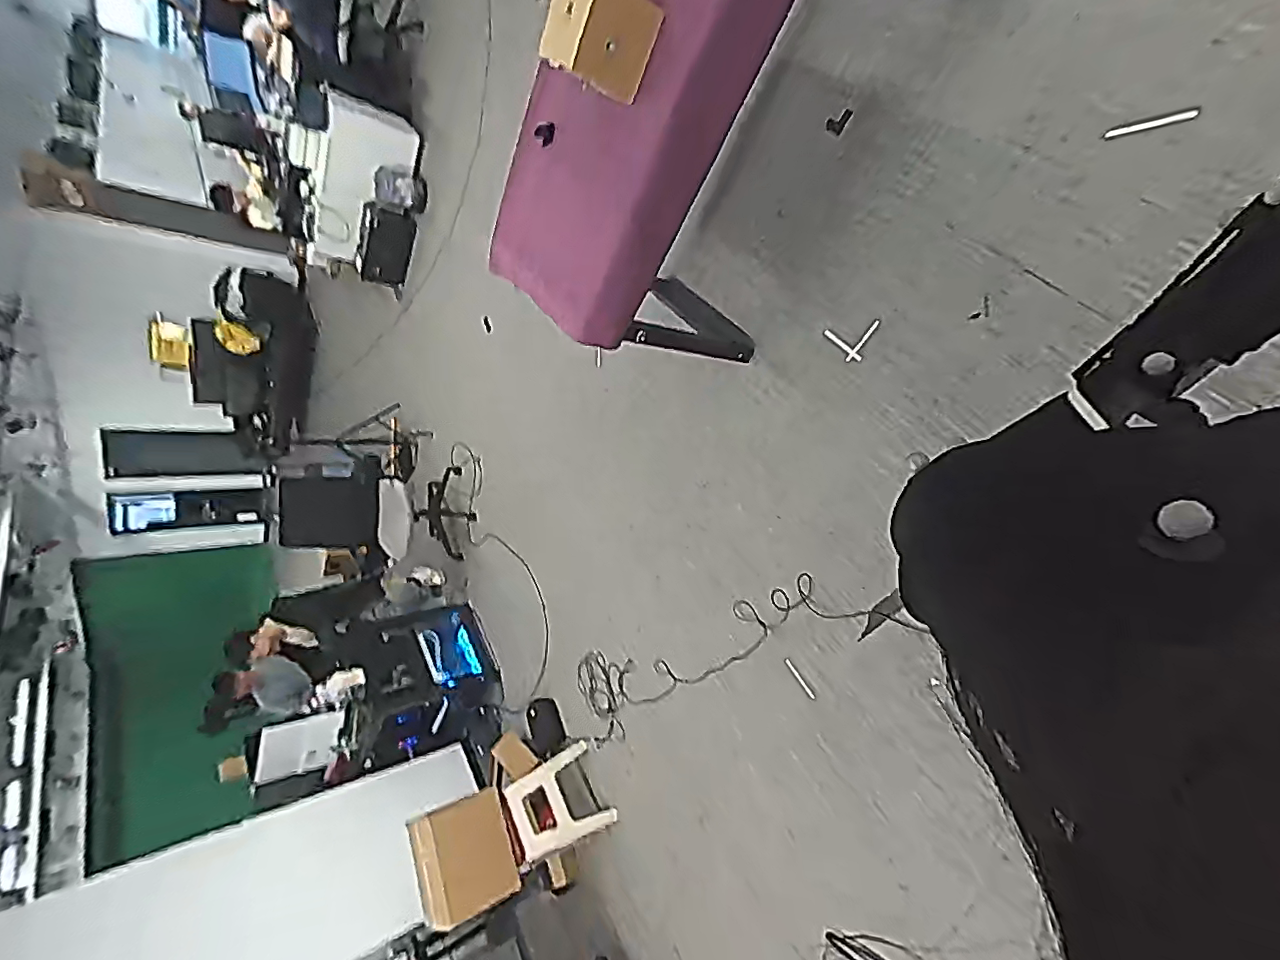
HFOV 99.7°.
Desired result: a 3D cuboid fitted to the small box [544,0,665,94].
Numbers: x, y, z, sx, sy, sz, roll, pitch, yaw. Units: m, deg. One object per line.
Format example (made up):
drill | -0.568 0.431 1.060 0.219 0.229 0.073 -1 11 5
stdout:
small box | -0.074 -0.962 1.148 0.168 0.176 0.179 51 128 34
